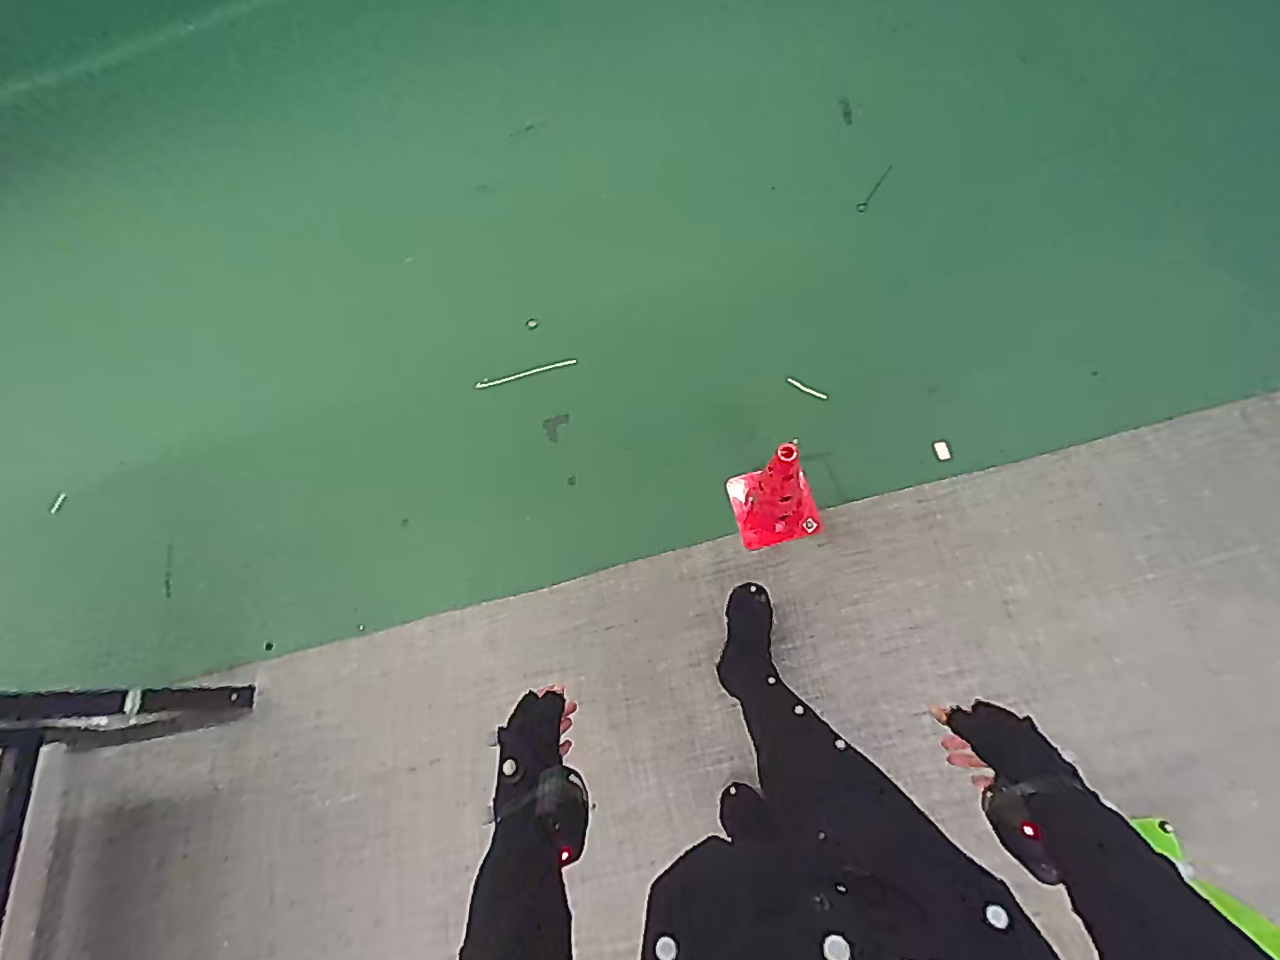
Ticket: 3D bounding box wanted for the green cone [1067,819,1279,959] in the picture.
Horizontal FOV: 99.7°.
[{"bbox_3d":[0.918,0.708,0.869,0.200,0.368,0.202,-10,69,6],"label":"green cone"}]
